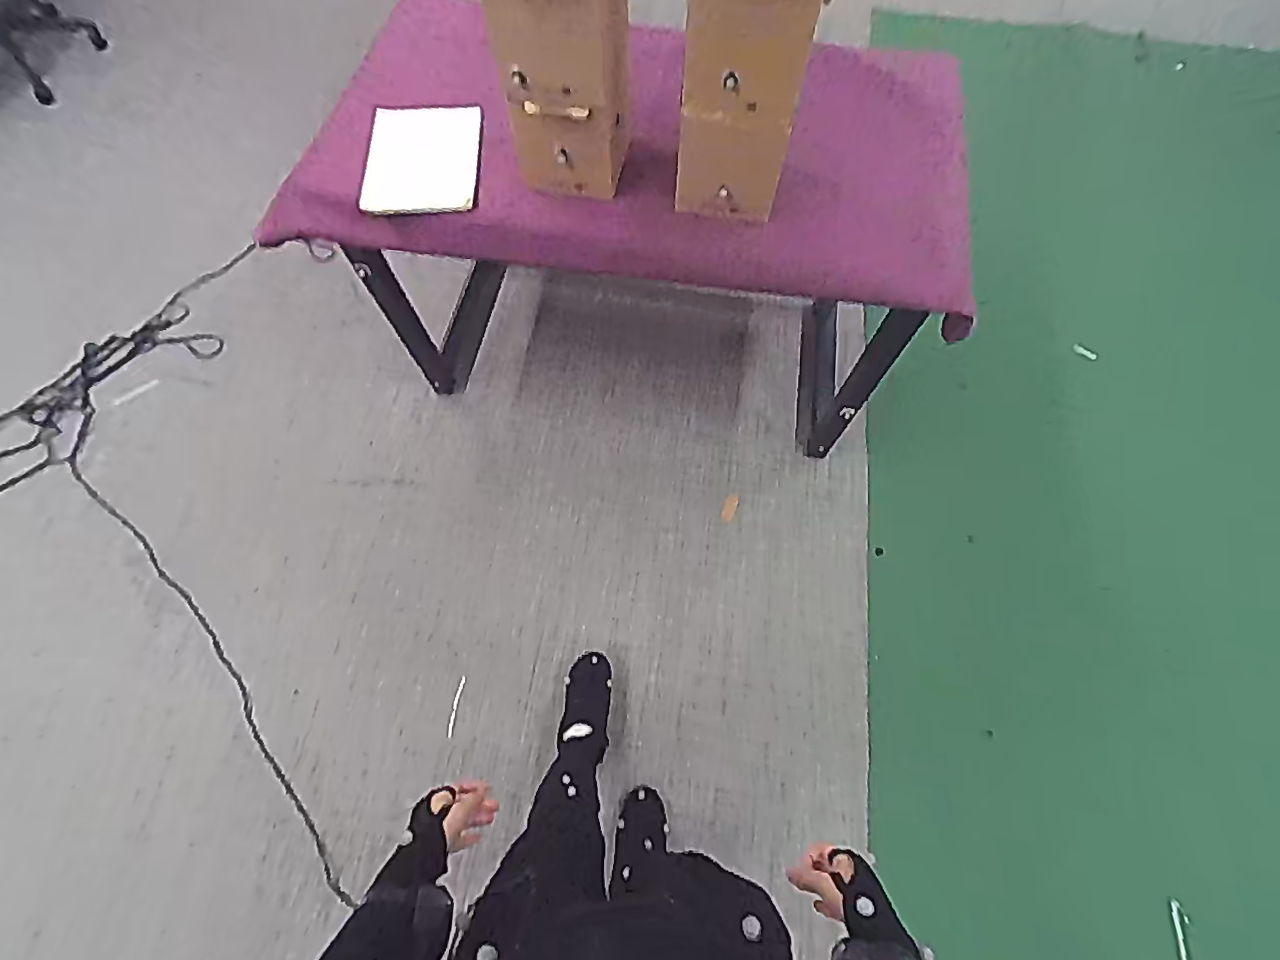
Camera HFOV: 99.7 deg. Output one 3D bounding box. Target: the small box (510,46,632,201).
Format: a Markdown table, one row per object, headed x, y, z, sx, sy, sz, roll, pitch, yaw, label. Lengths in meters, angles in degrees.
| x | y | z | sx | sy | sz | roll | pitch | yaw | label |
| --- | --- | --- | --- | --- | --- | --- | --- | --- | --- |
| -0.108 | -0.621 | 0.940 | 0.168 | 0.176 | 0.179 | 10 | 68 | 4 | small box |

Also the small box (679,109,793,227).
| x | y | z | sx | sy | sz | roll | pitch | yaw | label |
| --- | --- | --- | --- | --- | --- | --- | --- | --- | --- |
| 0.162 | -0.568 | 0.918 | 0.168 | 0.176 | 0.179 | 10 | 67 | 6 | small box |

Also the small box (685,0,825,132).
| x | y | z | sx | sy | sz | roll | pitch | yaw | label |
| --- | --- | --- | --- | --- | --- | --- | --- | --- | --- |
| 0.162 | -0.639 | 0.771 | 0.168 | 0.176 | 0.179 | 11 | 67 | 4 | small box |

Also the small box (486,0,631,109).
| x | y | z | sx | sy | sz | roll | pitch | yaw | label |
| --- | --- | --- | --- | --- | --- | --- | --- | --- | --- |
| -0.108 | -0.679 | 0.786 | 0.168 | 0.176 | 0.179 | 10 | 67 | 4 | small box |
